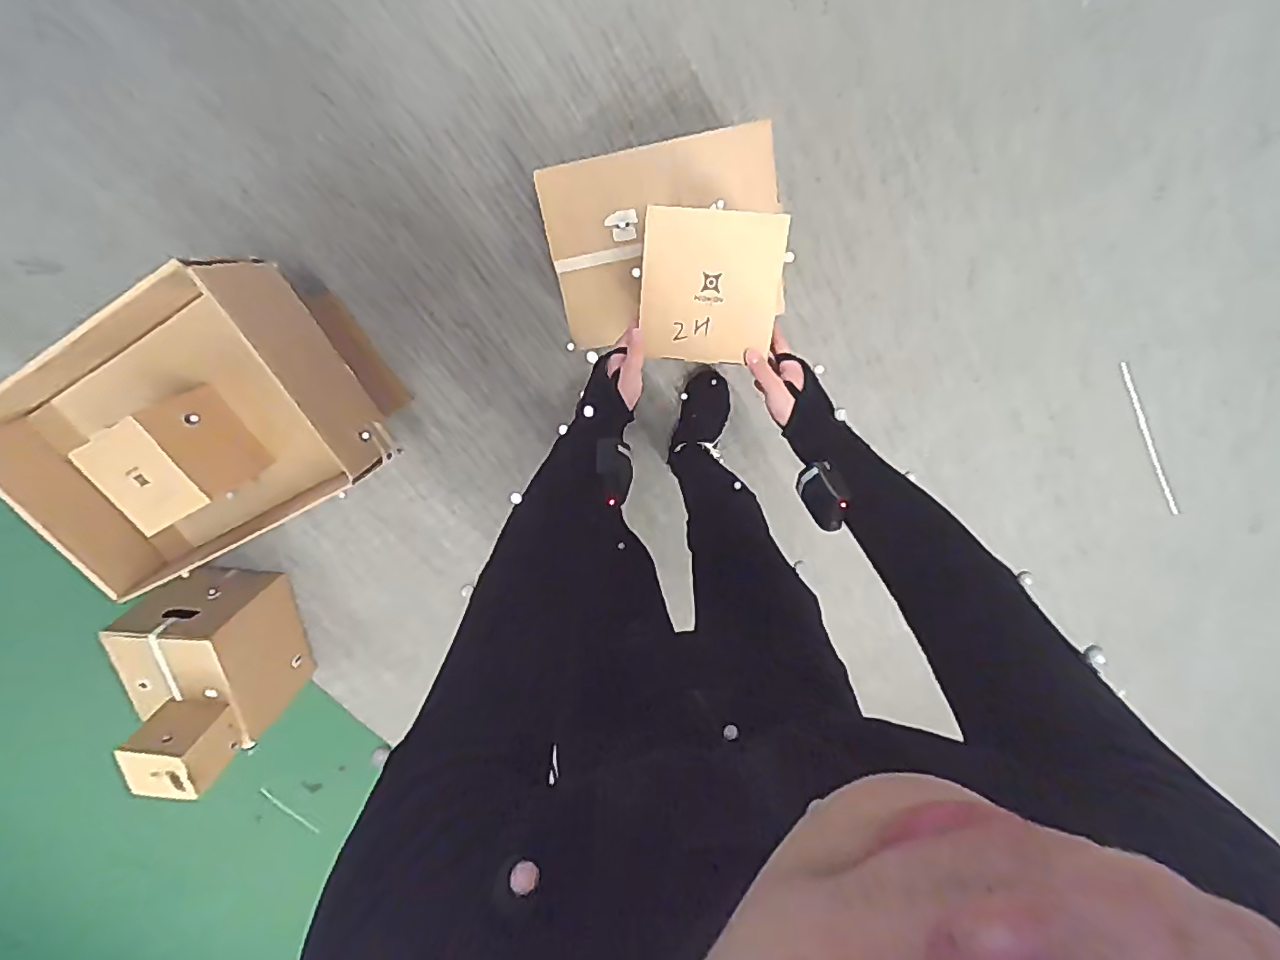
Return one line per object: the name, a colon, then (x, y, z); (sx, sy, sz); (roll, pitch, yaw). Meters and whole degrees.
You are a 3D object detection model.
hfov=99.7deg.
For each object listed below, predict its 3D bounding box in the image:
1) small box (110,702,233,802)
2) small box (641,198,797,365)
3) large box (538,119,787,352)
small box: (-1.227, 0.718, 1.438); (0.179, 0.176, 0.168); (6, 114, 1)
small box: (0.094, -0.261, 0.710); (0.168, 0.176, 0.179); (6, 114, 3)
large box: (0.058, -0.477, 1.086); (0.408, 0.320, 0.320); (-8, 113, 8)
